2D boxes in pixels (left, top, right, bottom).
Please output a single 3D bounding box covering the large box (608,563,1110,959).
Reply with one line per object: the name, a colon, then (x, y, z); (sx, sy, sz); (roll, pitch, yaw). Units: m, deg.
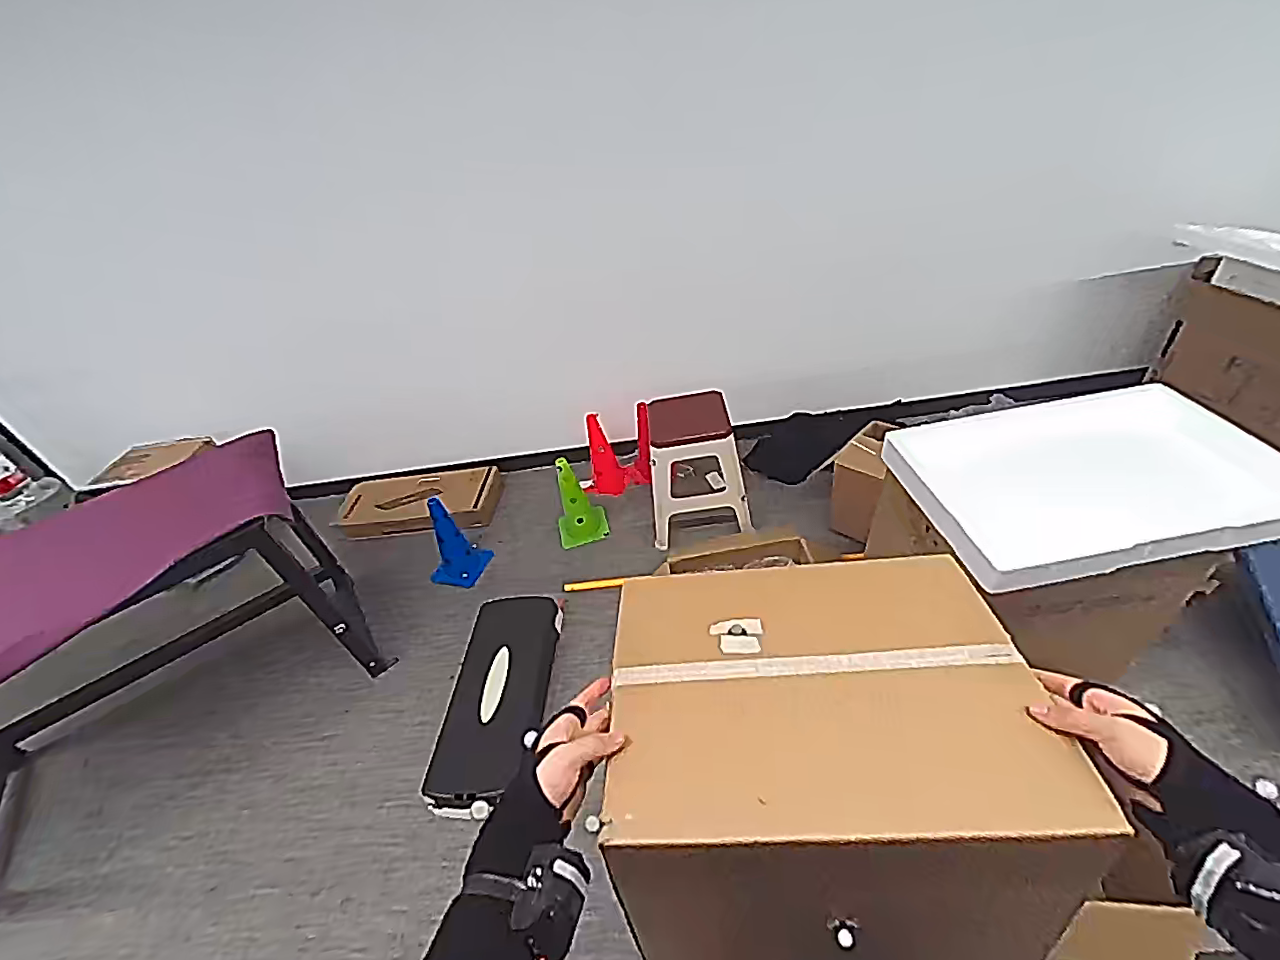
large box: (0.195, 0.330, 0.636); (0.408, 0.320, 0.320); (-6, 31, 6)
